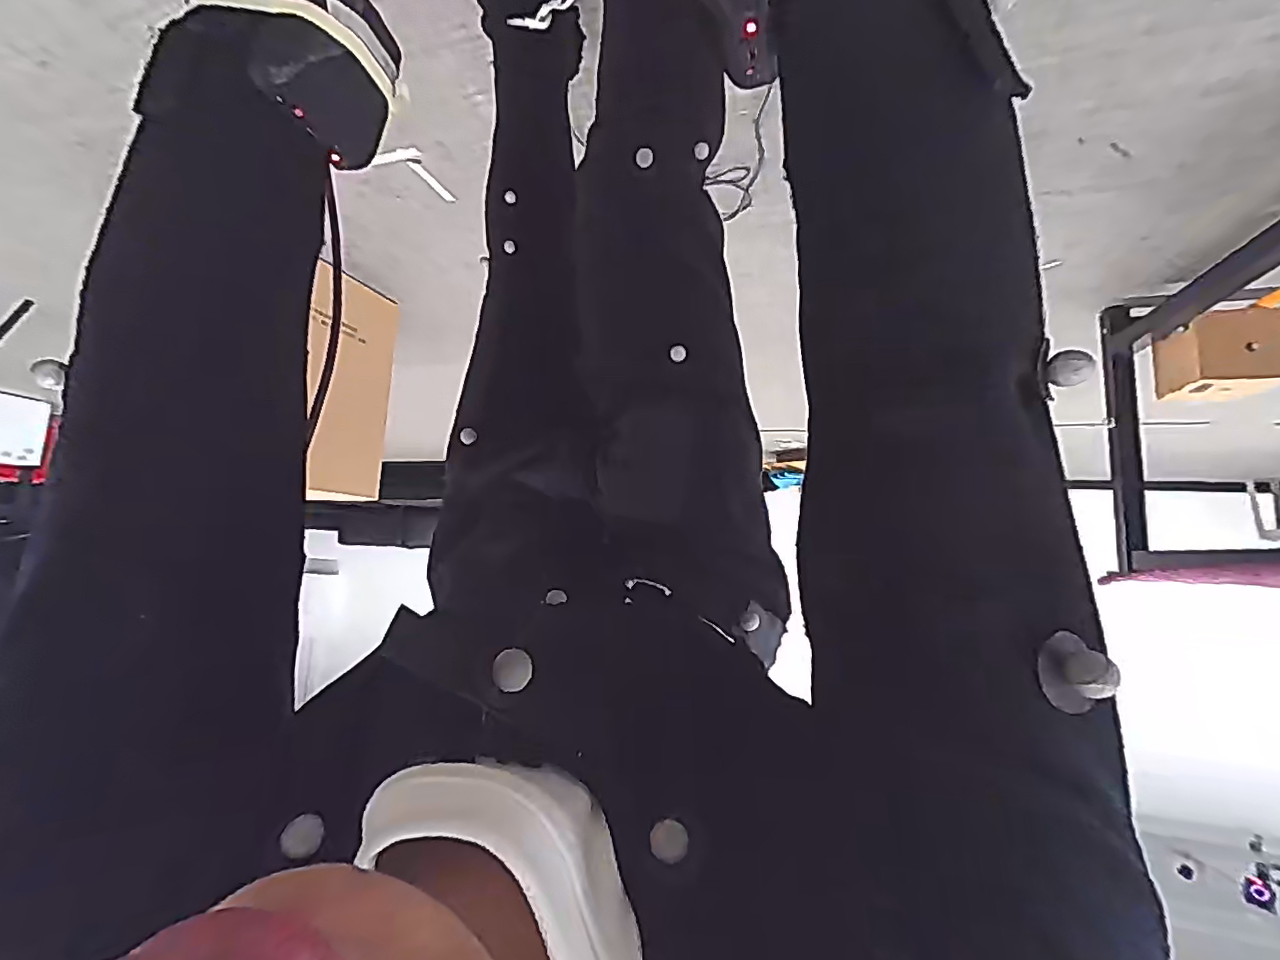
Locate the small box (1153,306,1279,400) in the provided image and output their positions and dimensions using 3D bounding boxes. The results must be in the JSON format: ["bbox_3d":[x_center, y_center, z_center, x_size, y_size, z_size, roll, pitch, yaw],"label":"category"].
[{"bbox_3d":[1.373,-0.297,1.285,0.179,0.176,0.168,0,171,16],"label":"small box"}]
